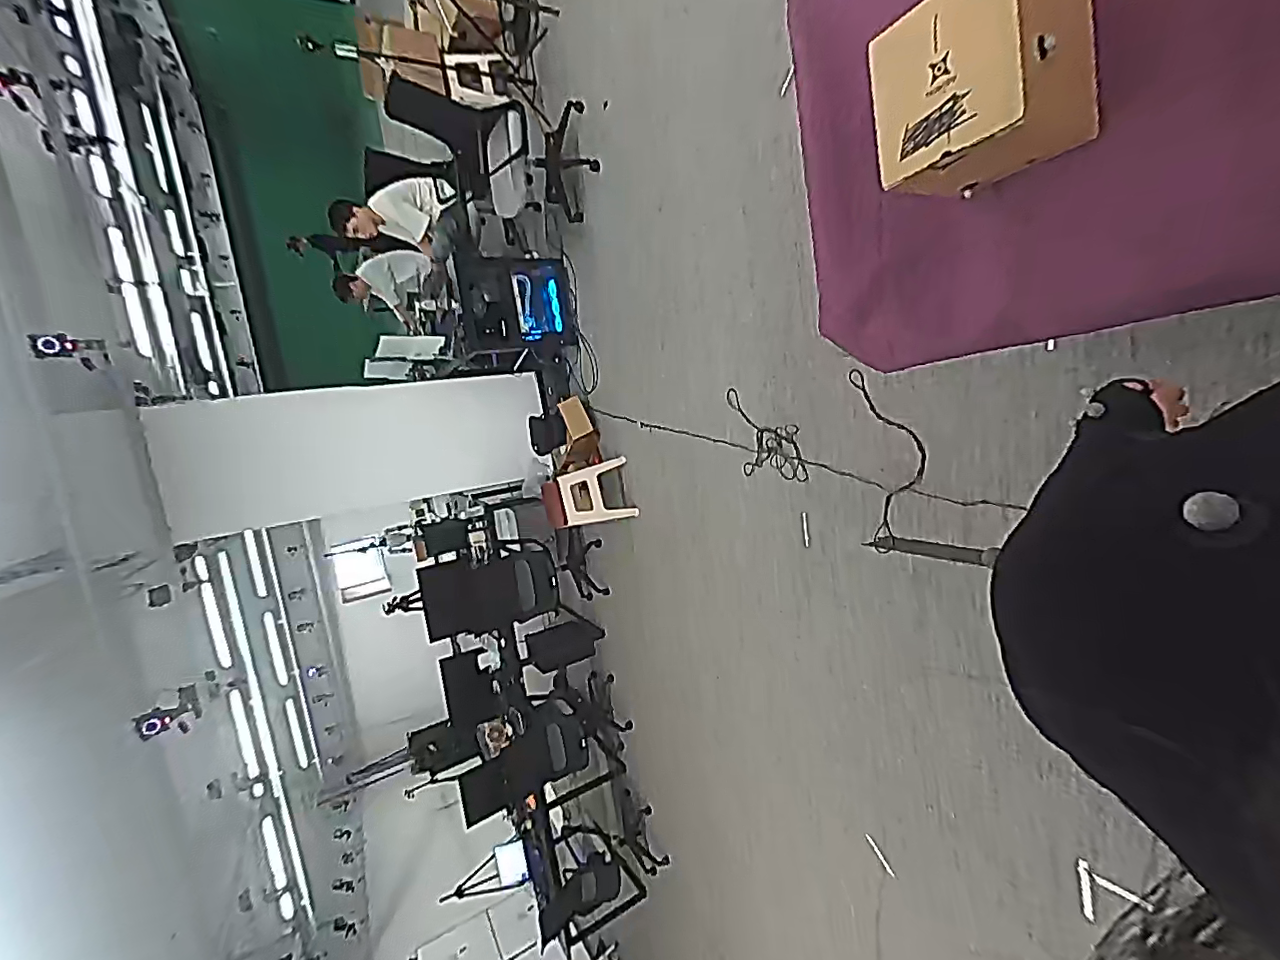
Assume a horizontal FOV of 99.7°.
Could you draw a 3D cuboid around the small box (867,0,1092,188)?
[{"bbox_3d":[0.400,-0.468,0.639,0.168,0.176,0.179,3,104,60],"label":"small box"}]
